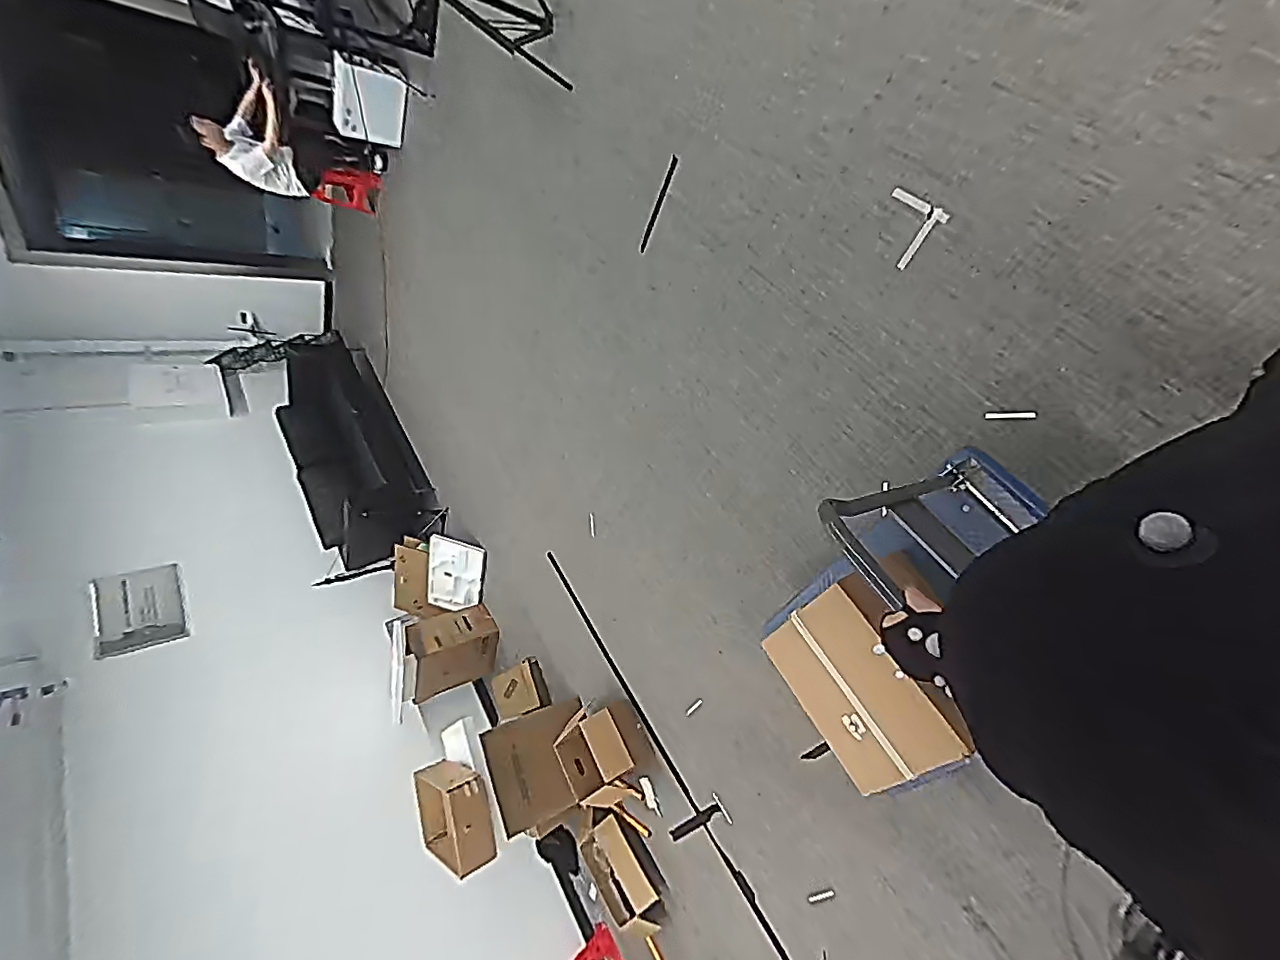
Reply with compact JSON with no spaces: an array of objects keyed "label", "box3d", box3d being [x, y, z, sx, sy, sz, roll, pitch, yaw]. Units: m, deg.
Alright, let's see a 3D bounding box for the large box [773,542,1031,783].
[{"label":"large box","box3d":[0.615,0.421,1.308,0.408,0.320,0.320,56,137,25]}]
